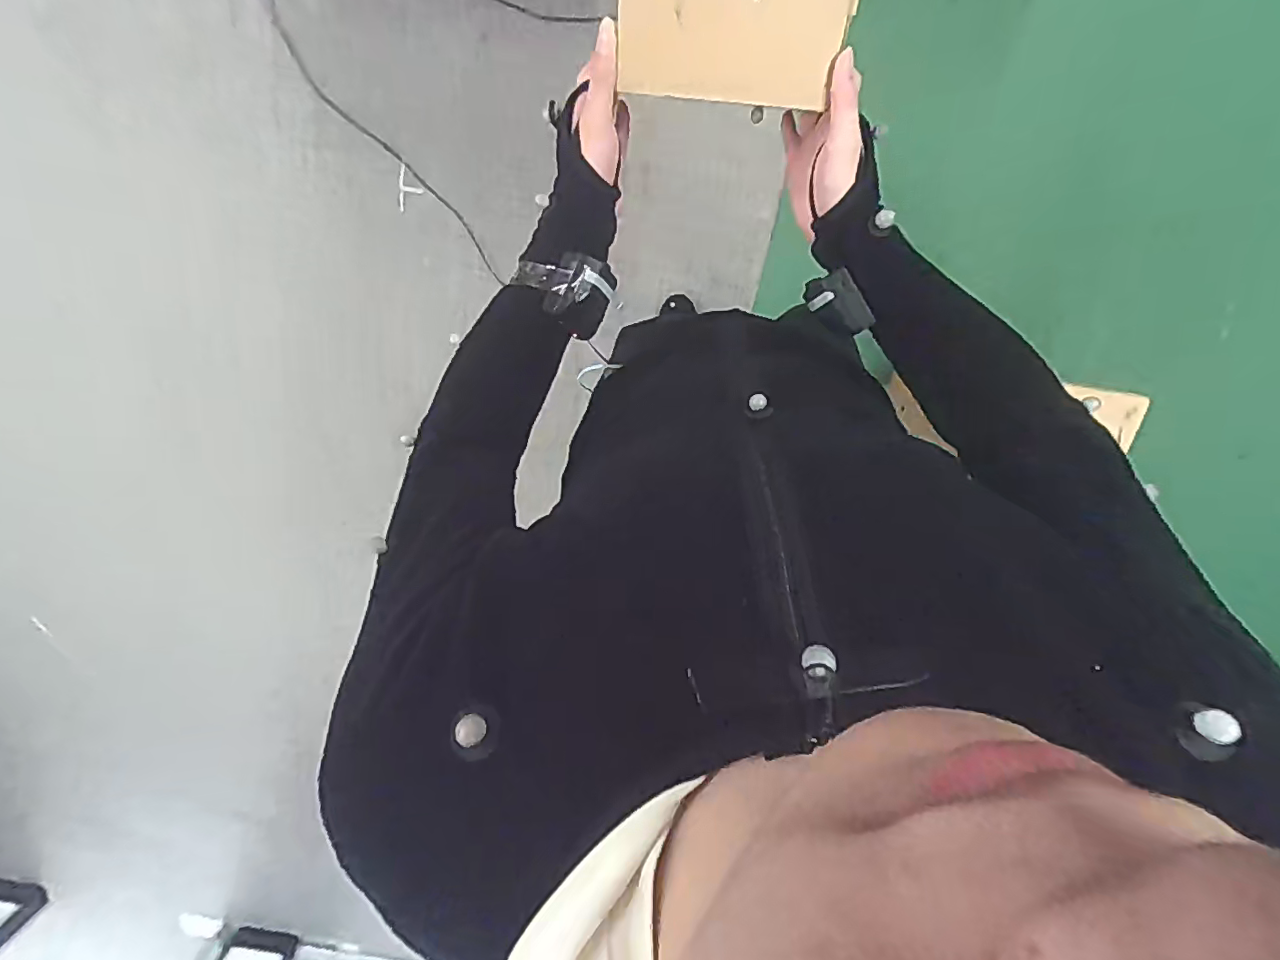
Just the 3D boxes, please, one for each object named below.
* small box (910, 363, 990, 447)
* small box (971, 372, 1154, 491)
[{"bbox_3d":[0.779,-0.176,1.301,0.168,0.176,0.179,9,108,1],"label":"small box"},{"bbox_3d":[0.748,-0.097,0.984,0.179,0.176,0.168,11,108,2],"label":"small box"}]
